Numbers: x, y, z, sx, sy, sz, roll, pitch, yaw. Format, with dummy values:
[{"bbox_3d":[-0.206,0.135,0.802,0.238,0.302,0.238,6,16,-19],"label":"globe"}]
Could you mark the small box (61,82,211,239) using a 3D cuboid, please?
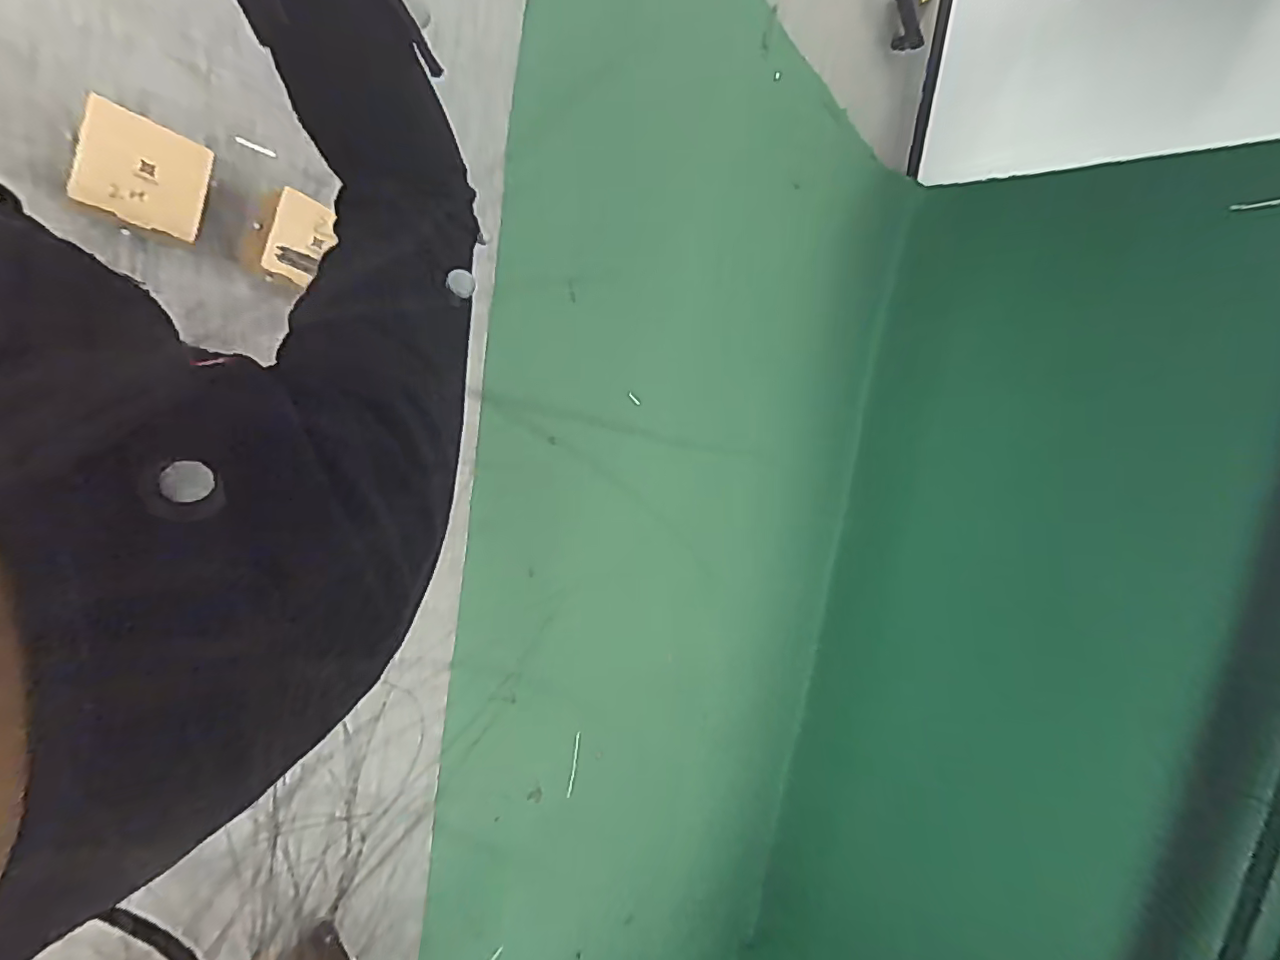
[{"bbox_3d":[-0.912,-0.559,0.977,0.168,0.176,0.179,13,93,-49],"label":"small box"}]
